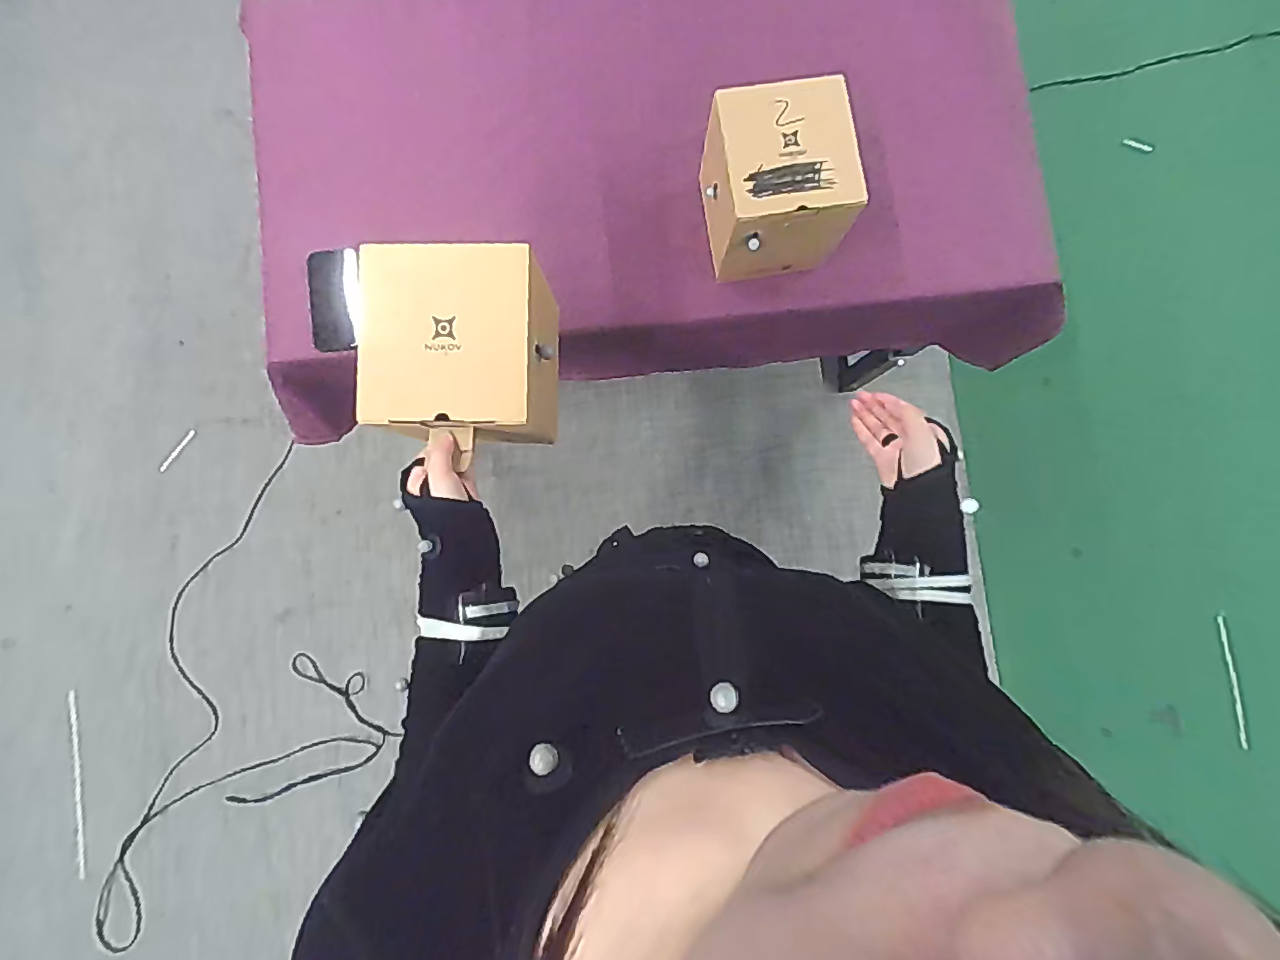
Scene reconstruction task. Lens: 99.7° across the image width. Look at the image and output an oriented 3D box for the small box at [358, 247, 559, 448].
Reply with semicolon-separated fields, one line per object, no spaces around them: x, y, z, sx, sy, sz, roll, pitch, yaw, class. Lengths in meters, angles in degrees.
-0.184;-0.132;0.595;0.168;0.176;0.179;1;89;0;small box
